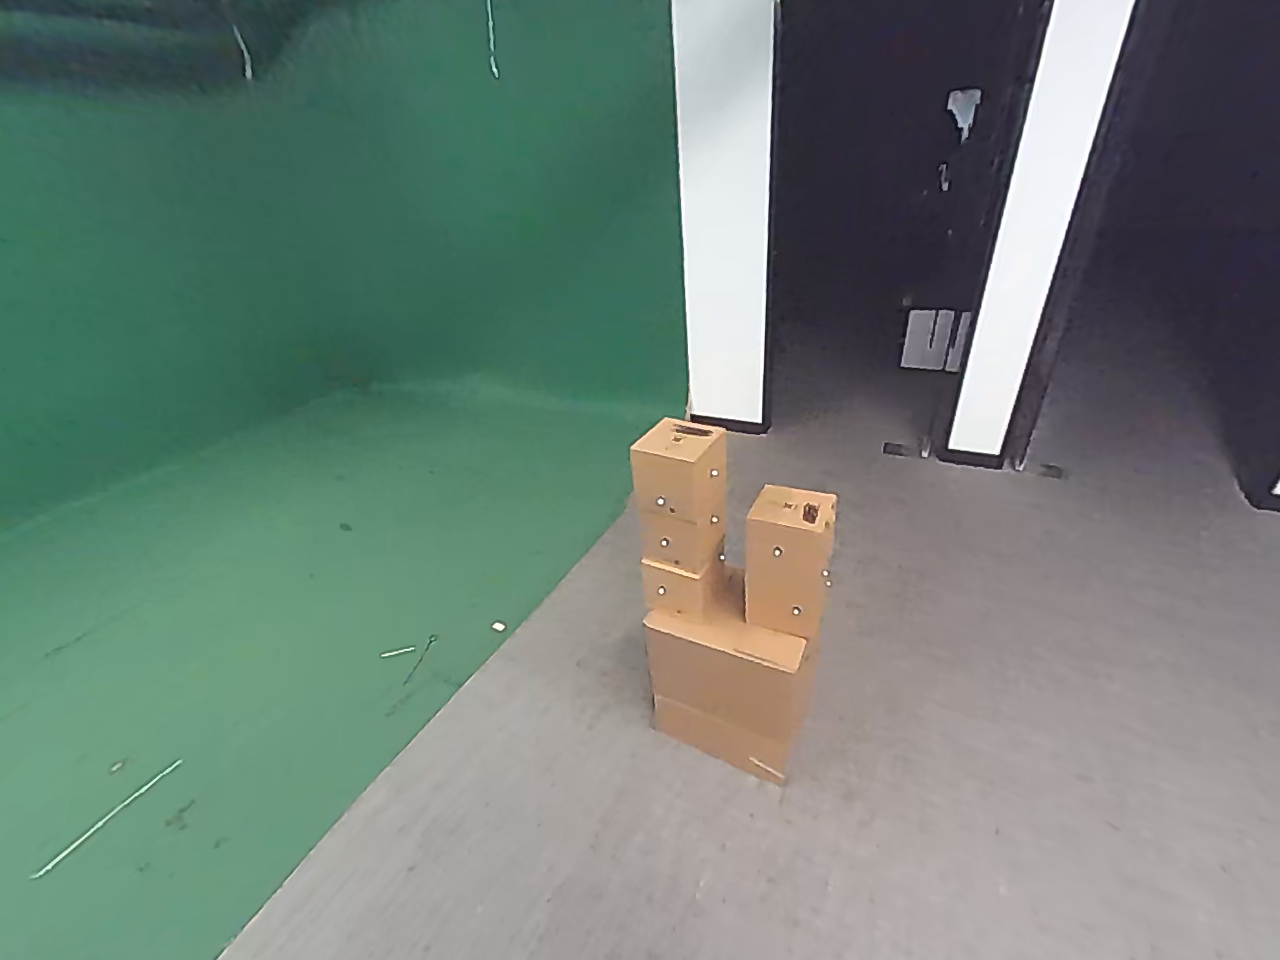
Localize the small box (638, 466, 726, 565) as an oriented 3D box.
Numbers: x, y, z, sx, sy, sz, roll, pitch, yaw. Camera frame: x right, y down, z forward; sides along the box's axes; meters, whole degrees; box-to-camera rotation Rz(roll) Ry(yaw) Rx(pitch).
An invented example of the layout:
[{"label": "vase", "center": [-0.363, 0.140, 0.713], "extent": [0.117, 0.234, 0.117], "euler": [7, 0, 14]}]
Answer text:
[{"label": "small box", "center": [0.114, 0.092, 1.392], "extent": [0.168, 0.176, 0.179], "euler": [16, 38, 27]}]

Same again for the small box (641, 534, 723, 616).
[{"label": "small box", "center": [0.119, 0.237, 1.469], "extent": [0.168, 0.176, 0.179], "euler": [14, 37, 26]}]

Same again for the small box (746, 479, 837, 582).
[{"label": "small box", "center": [0.365, 0.123, 1.309], "extent": [0.179, 0.176, 0.168], "euler": [11, 35, 27]}]

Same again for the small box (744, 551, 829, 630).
[{"label": "small box", "center": [0.378, 0.261, 1.396], "extent": [0.179, 0.176, 0.168], "euler": [10, 35, 26]}]
